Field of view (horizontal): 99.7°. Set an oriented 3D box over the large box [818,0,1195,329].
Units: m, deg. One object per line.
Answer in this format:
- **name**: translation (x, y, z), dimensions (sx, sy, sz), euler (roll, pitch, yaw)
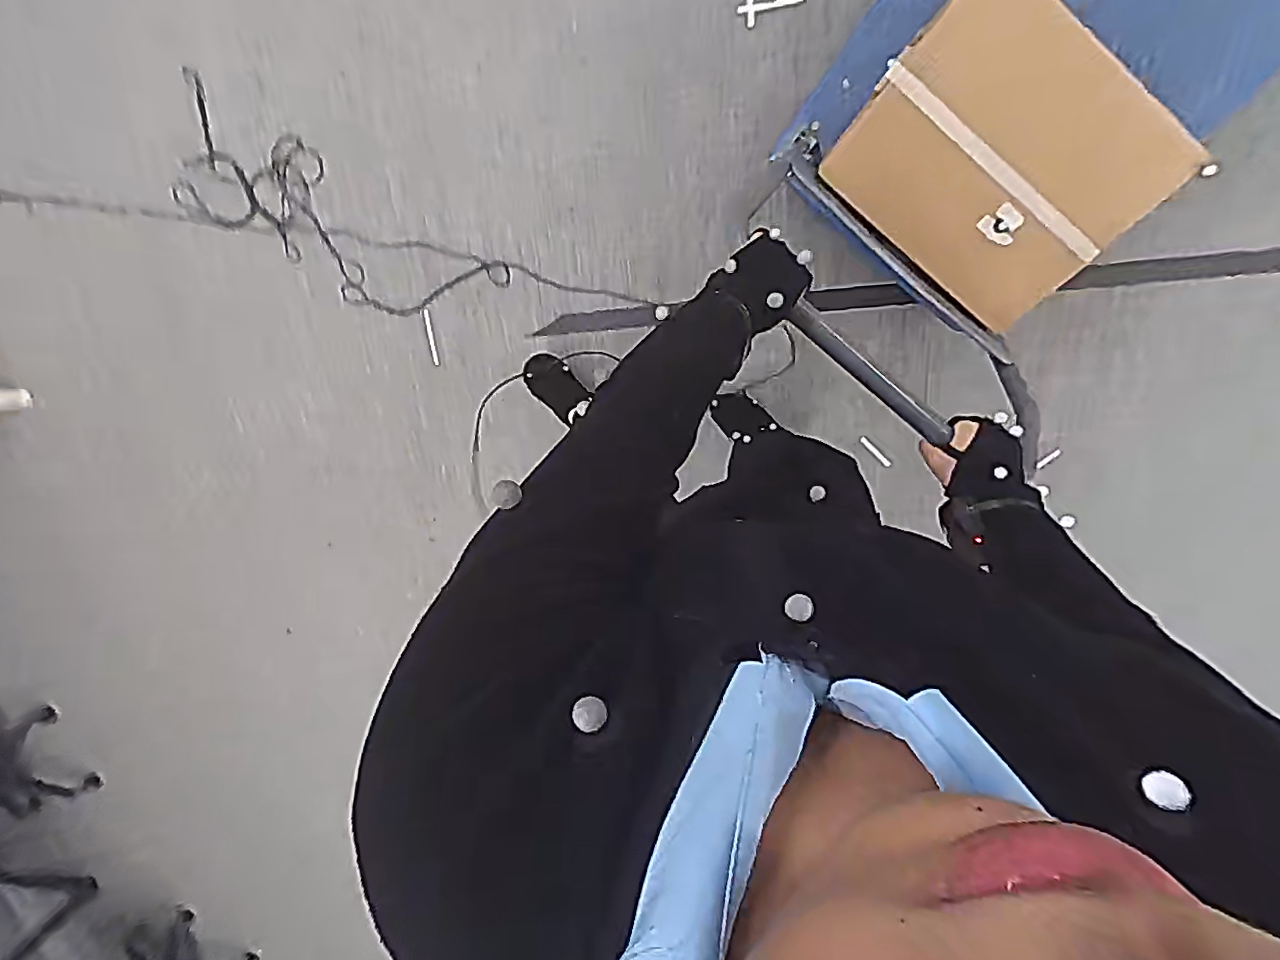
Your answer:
- **large box**: translation (0.560, -0.539, 0.921), dimensions (0.408, 0.320, 0.320), euler (37, 127, -7)
